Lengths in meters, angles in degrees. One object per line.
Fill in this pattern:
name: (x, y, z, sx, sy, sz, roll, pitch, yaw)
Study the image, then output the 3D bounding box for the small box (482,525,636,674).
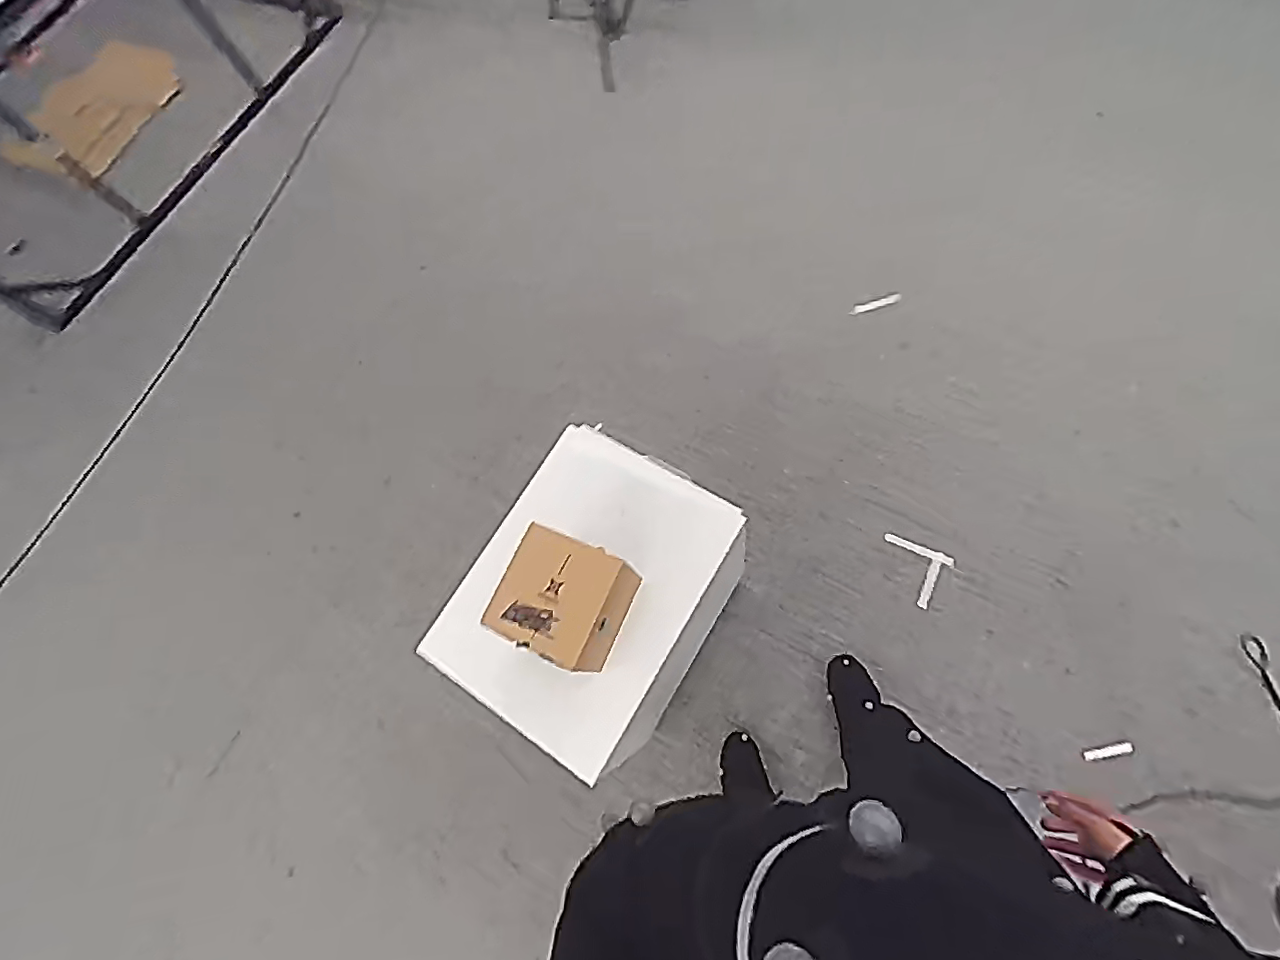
small box: (-0.118, 0.199, 0.879, 0.168, 0.176, 0.179, 20, 74, 16)
